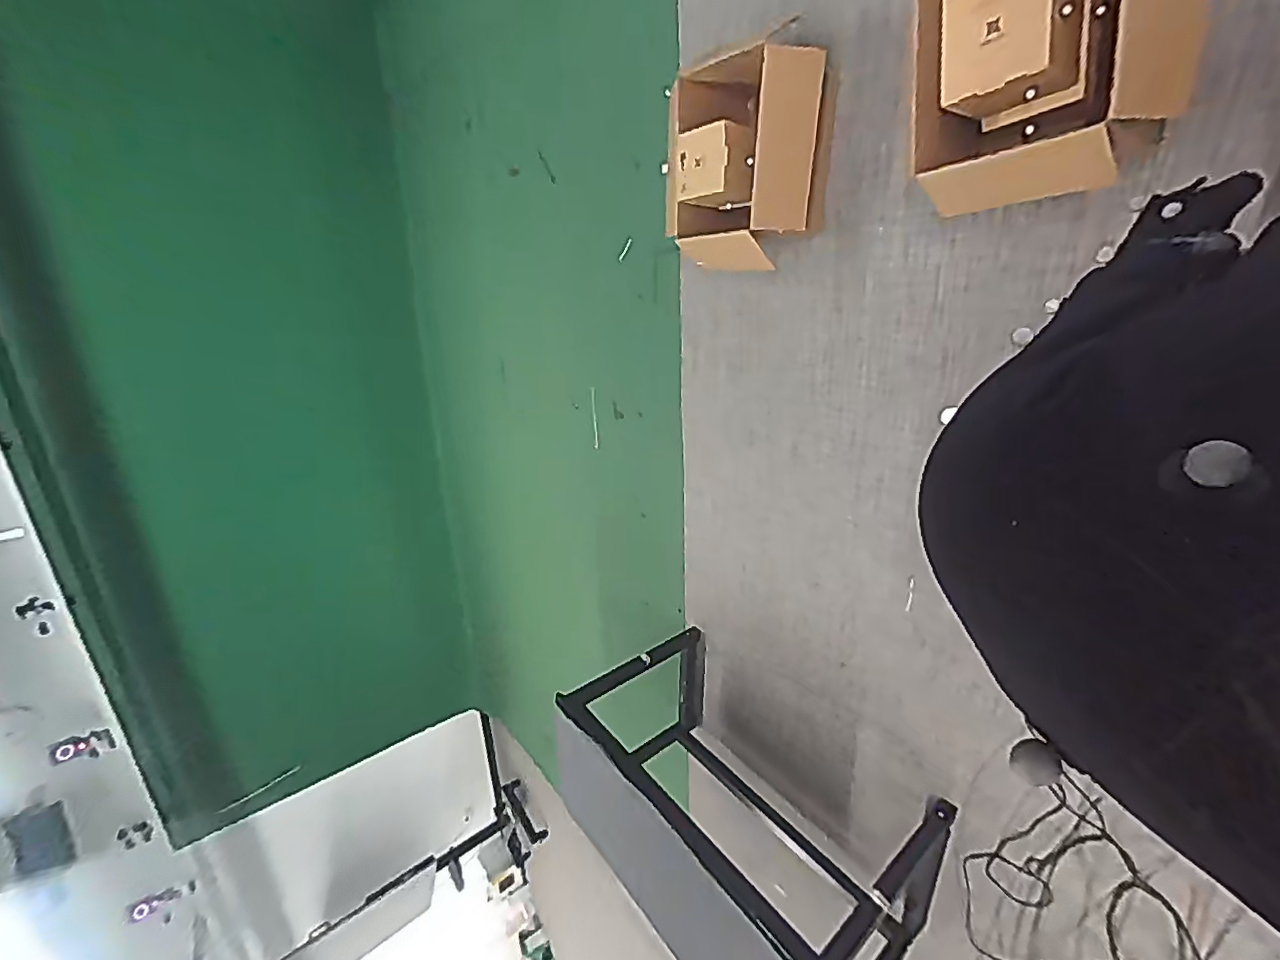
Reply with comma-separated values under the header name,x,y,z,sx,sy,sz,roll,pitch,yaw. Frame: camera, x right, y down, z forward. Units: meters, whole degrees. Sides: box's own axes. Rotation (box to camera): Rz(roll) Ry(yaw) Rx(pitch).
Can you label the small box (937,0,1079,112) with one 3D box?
name,x,y,z,sx,sy,sz,roll,pitch,yaw
small box,0.647,-0.775,0.952,0.168,0.176,0.179,11,114,50
